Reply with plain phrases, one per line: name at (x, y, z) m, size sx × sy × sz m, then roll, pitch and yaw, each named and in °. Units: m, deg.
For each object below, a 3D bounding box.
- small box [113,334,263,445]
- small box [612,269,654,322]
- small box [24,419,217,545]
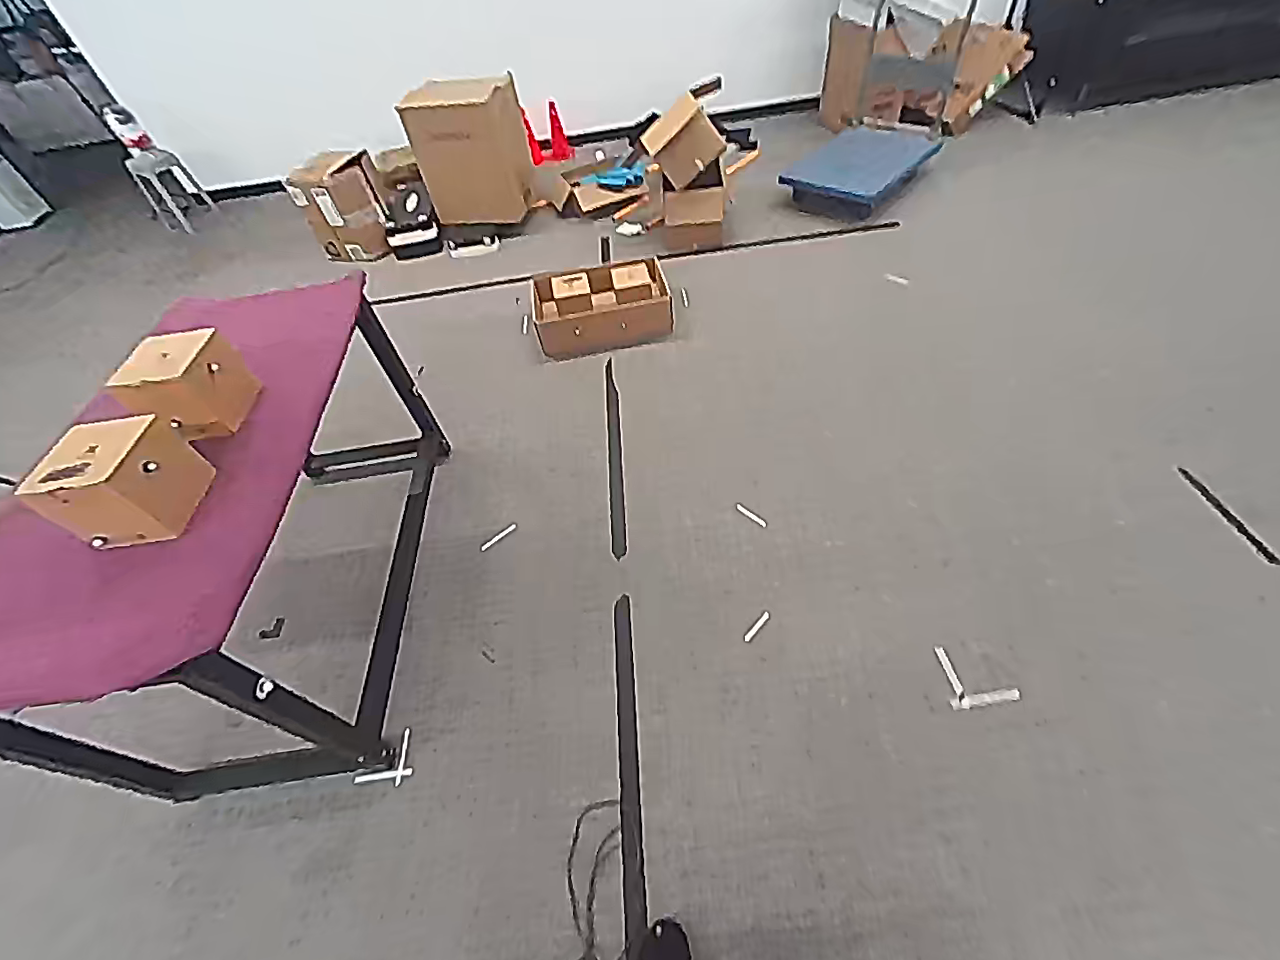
small box at (-0.998, -0.201, 1.218) m, size 0.168 × 0.176 × 0.179 m, roll -7°, pitch 50°, yaw 2°
small box at (-0.030, -0.854, 2.524) m, size 0.168 × 0.176 × 0.179 m, roll -10°, pitch 48°, yaw -1°
small box at (-0.966, 0.011, 1.030) m, size 0.168 × 0.176 × 0.179 m, roll -8°, pitch 48°, yaw 2°
